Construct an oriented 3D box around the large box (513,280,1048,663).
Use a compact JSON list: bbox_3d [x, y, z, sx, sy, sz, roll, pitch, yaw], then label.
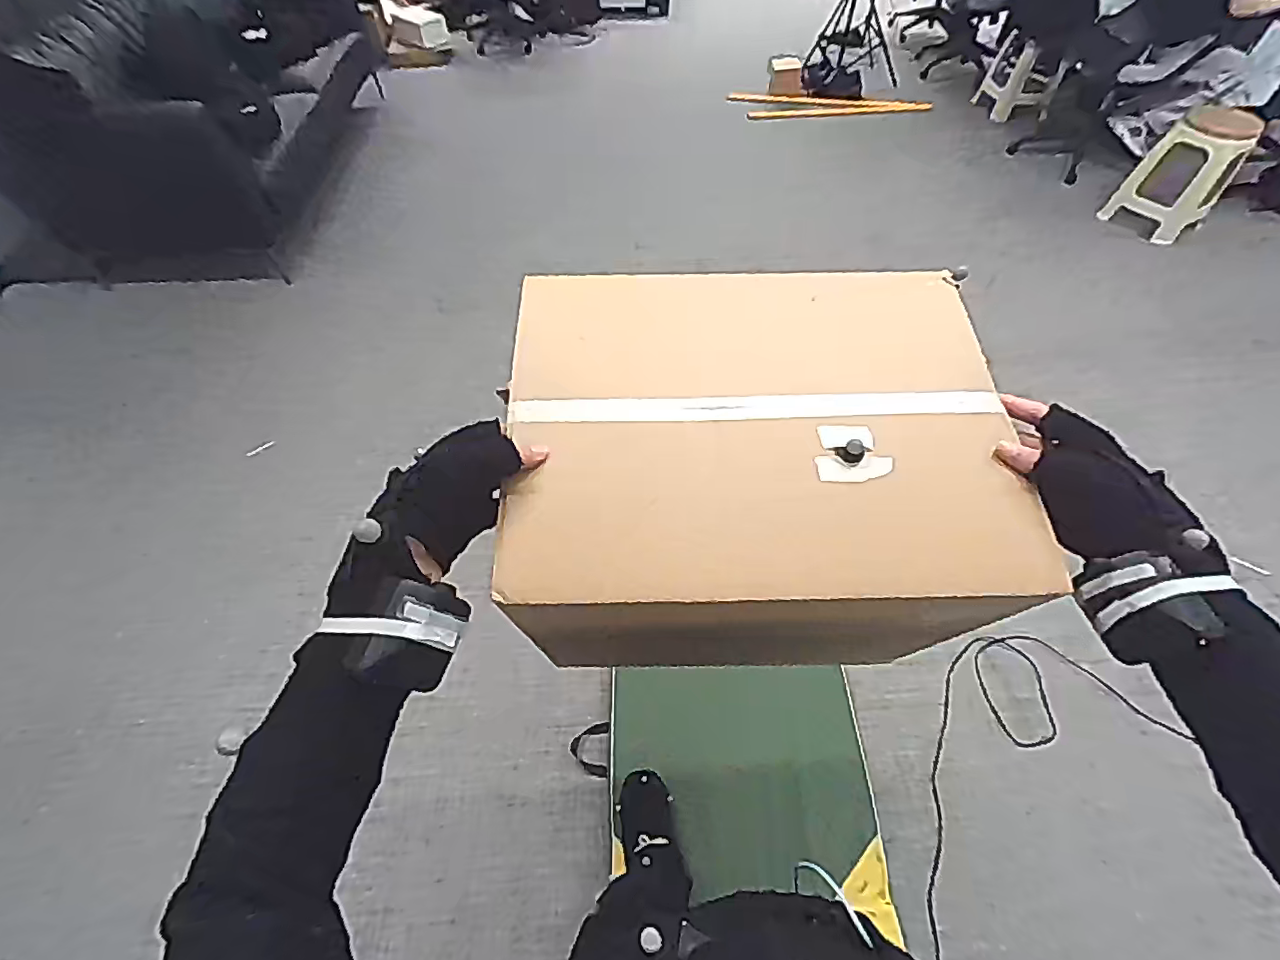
[{"bbox_3d":[0.096,0.011,0.592,0.408,0.320,0.320,-1,63,-1],"label":"large box"}]
